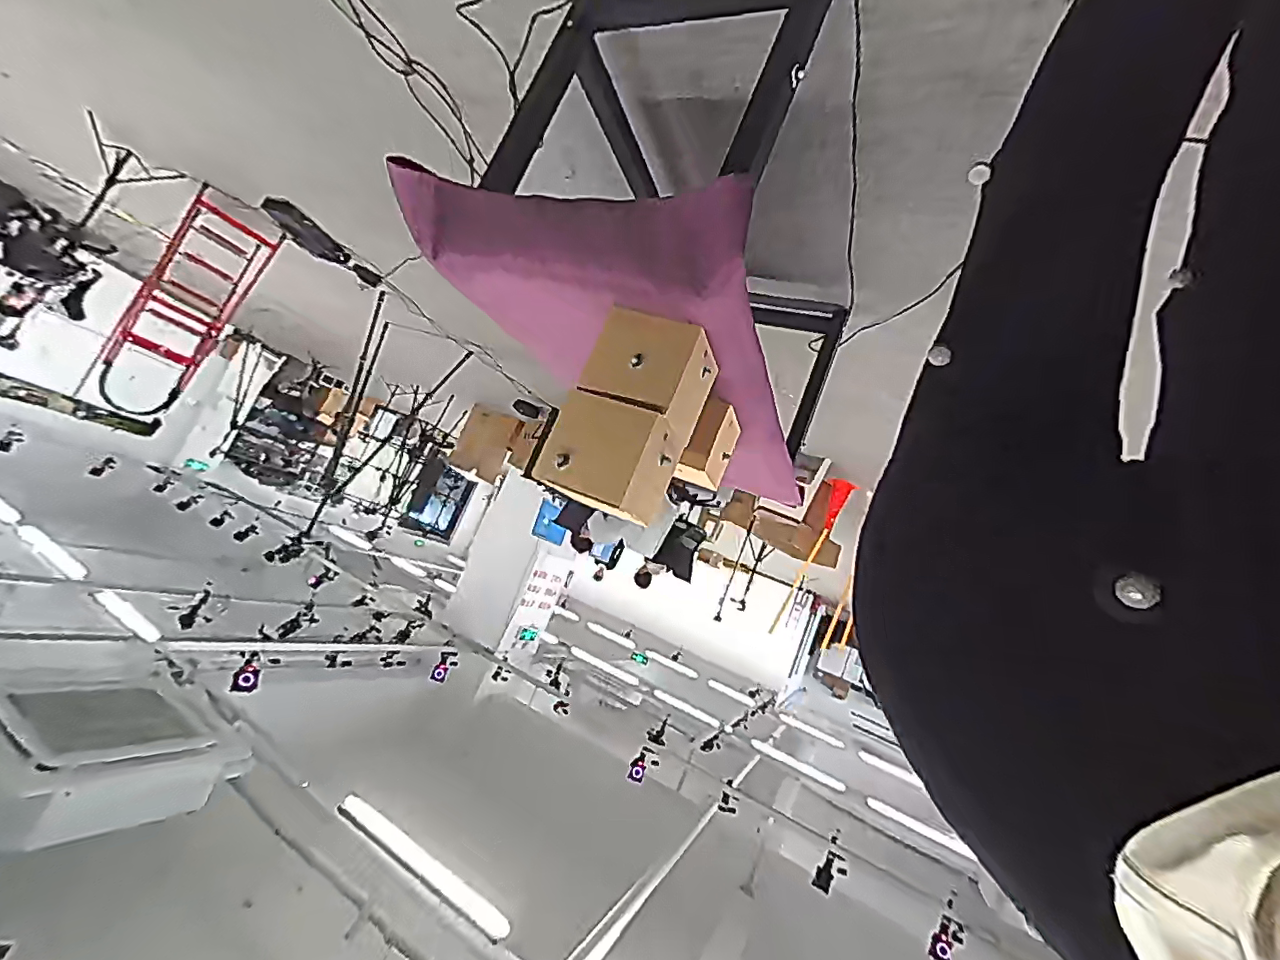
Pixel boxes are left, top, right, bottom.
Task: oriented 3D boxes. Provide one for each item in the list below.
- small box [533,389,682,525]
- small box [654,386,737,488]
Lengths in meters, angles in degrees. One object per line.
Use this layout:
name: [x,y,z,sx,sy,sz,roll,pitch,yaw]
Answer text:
small box: [-0.049,-0.042,0.947,0.179,0.176,0.168,19,172,23]
small box: [0.119,-0.102,1.267,0.179,0.176,0.168,21,171,22]
